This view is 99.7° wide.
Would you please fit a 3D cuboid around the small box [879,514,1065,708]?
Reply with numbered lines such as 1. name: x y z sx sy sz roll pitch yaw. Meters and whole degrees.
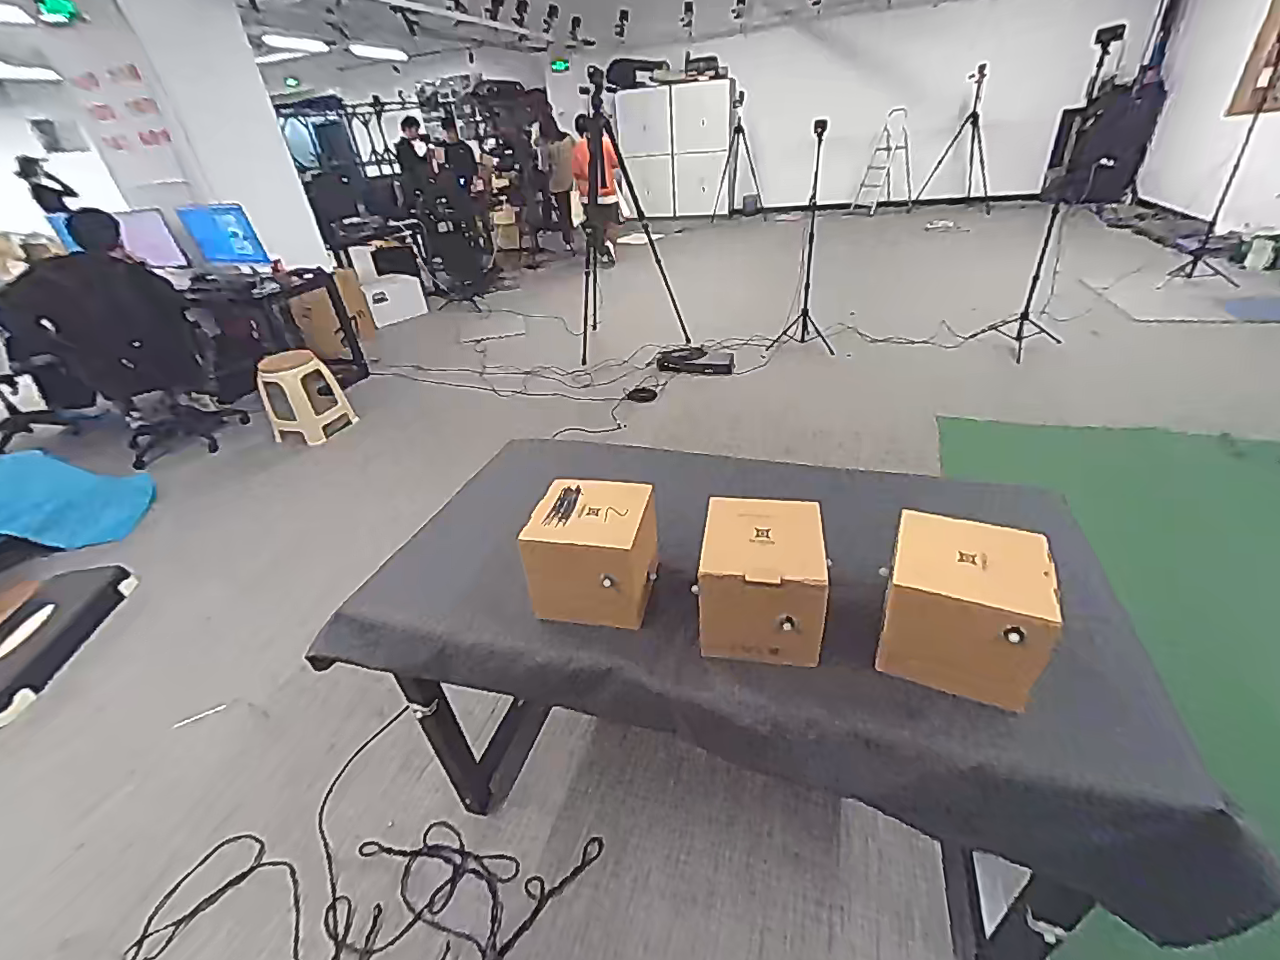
1. small box: 0.431 0.172 0.728 0.179 0.176 0.168 11 36 24

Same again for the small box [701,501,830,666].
1. small box: 0.182 0.151 0.801 0.168 0.176 0.179 3 32 11
